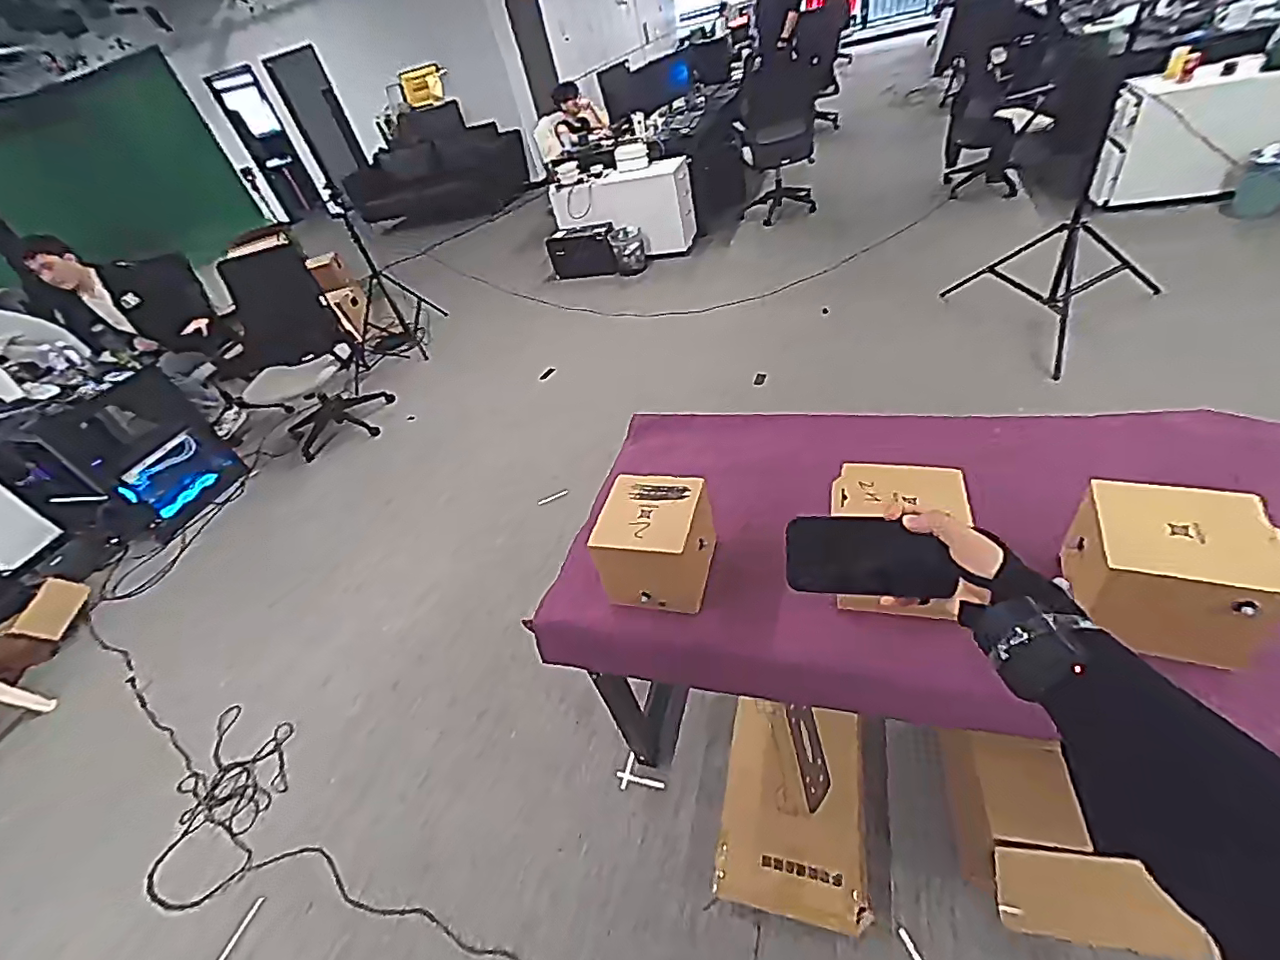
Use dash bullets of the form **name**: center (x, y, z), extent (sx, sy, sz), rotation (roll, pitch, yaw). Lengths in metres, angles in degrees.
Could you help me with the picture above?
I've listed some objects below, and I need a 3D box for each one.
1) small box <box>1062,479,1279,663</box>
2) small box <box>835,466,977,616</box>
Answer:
- **small box**: center (0.698, 0.121, 0.730), extent (0.179, 0.176, 0.168), rotation (7, 45, 25)
- **small box**: center (0.406, 0.096, 0.854), extent (0.179, 0.176, 0.168), rotation (1, 41, 20)
